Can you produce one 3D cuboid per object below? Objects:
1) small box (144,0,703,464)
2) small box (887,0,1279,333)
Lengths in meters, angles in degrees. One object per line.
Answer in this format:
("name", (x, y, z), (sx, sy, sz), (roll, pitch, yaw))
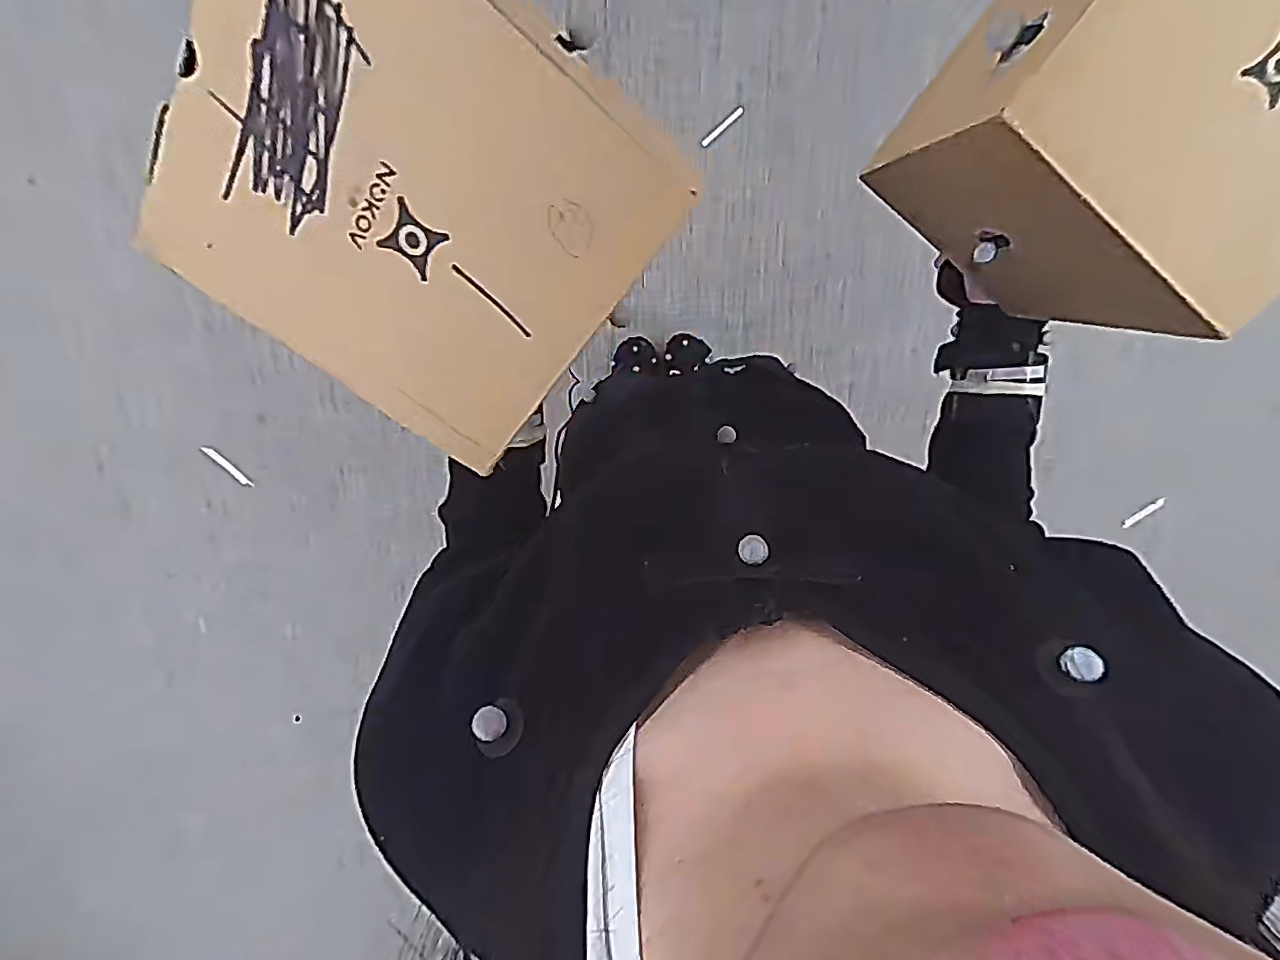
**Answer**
("small box", (-0.085, -0.147, 0.281), (0.179, 0.176, 0.168), (36, 120, -16))
("small box", (0.270, -0.208, 0.300), (0.168, 0.176, 0.179), (33, 107, -13))
